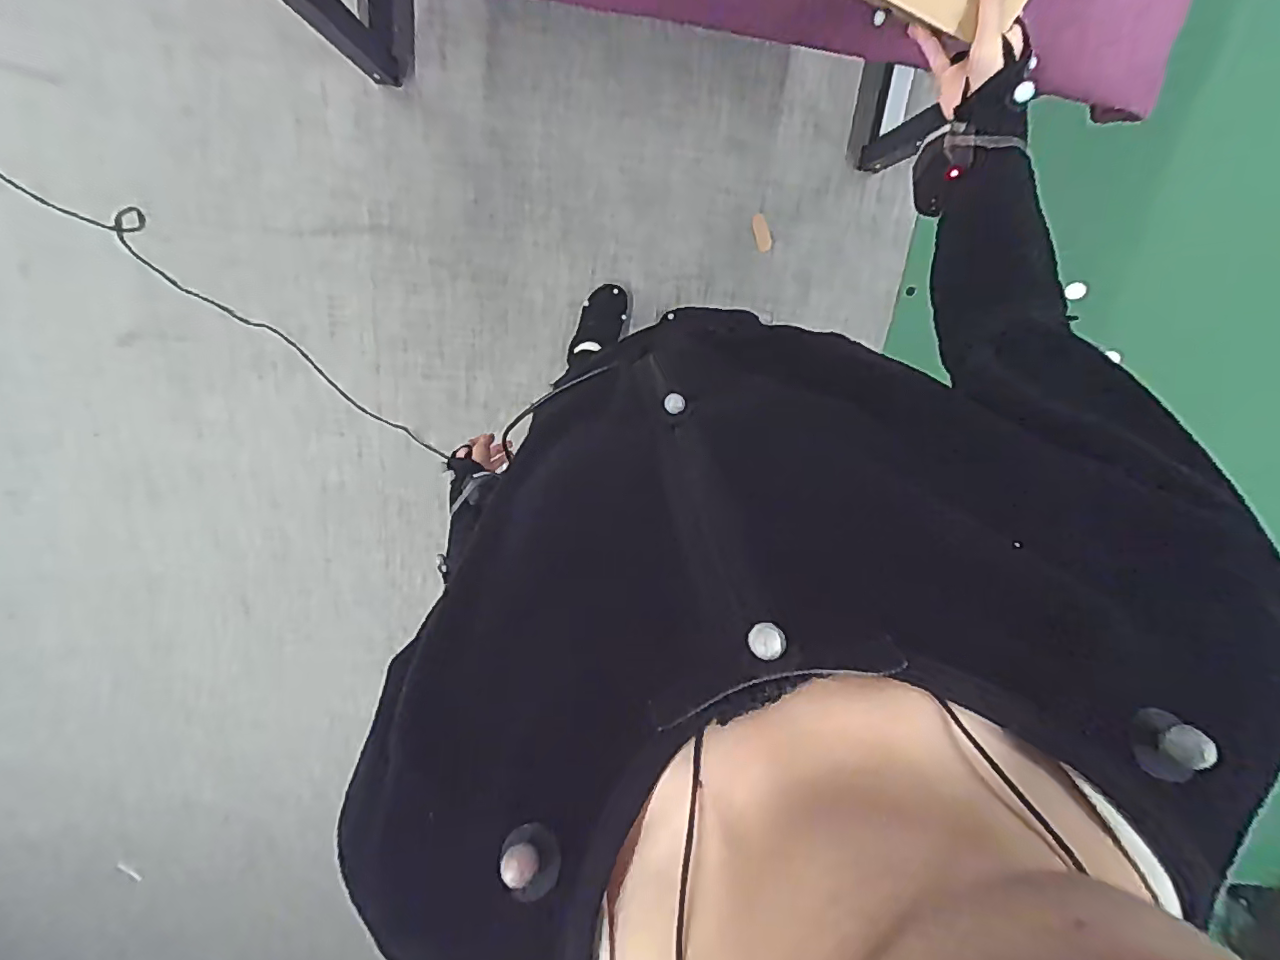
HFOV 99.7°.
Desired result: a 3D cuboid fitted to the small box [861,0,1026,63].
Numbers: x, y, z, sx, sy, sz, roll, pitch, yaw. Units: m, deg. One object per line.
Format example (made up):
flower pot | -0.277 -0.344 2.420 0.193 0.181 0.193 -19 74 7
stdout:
small box | 0.284 -0.529 0.491 0.168 0.176 0.179 16 134 -14
